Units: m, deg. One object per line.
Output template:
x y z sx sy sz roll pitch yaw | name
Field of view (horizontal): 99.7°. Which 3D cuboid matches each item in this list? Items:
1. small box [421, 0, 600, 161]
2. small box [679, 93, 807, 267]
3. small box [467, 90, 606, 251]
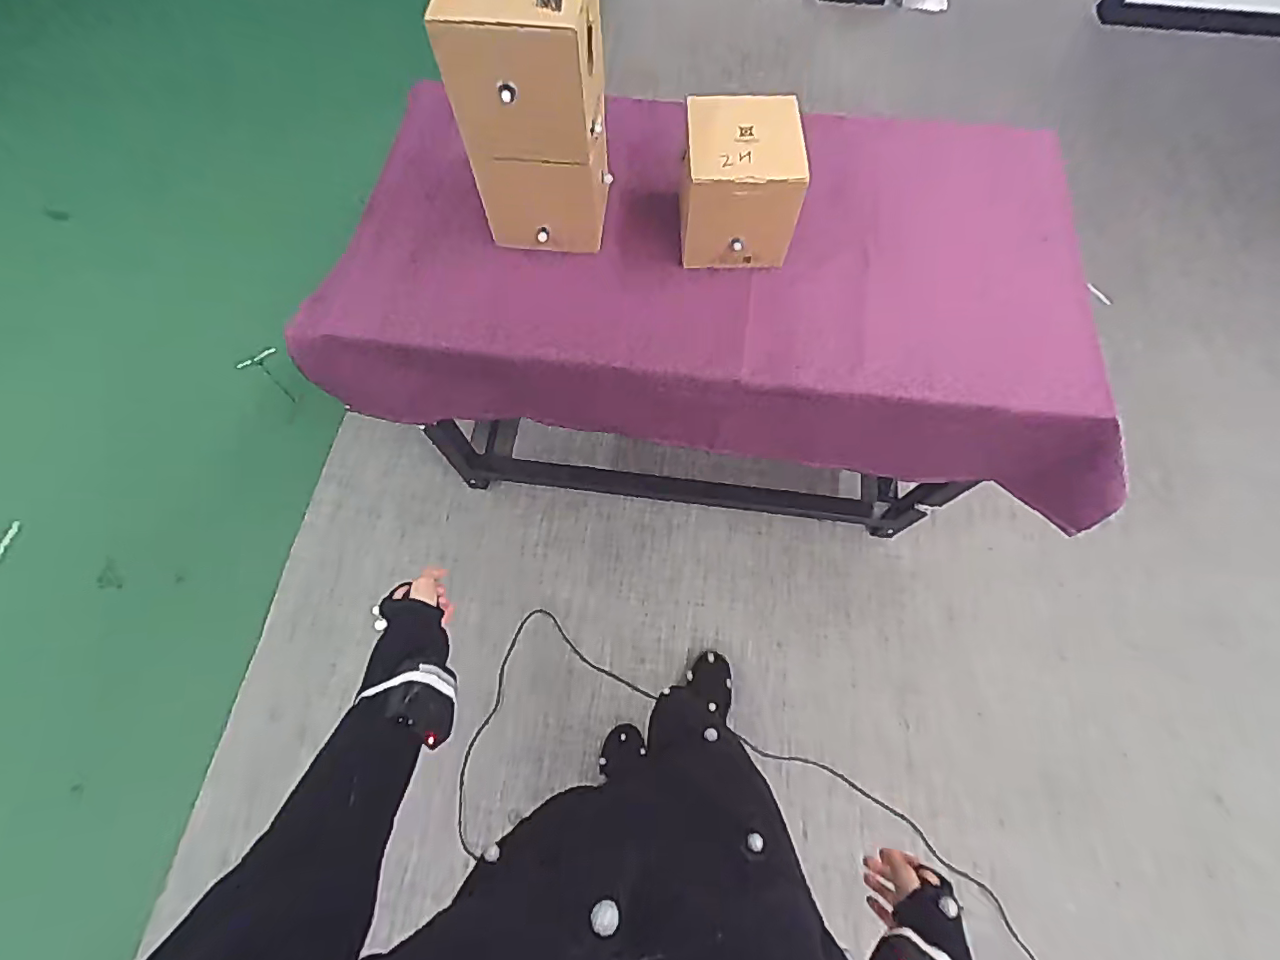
-0.150 -0.546 0.701 0.179 0.176 0.168 5 69 3 | small box
0.148 -0.461 0.844 0.168 0.176 0.179 0 70 1 | small box
-0.150 -0.488 0.855 0.179 0.176 0.168 5 69 2 | small box
